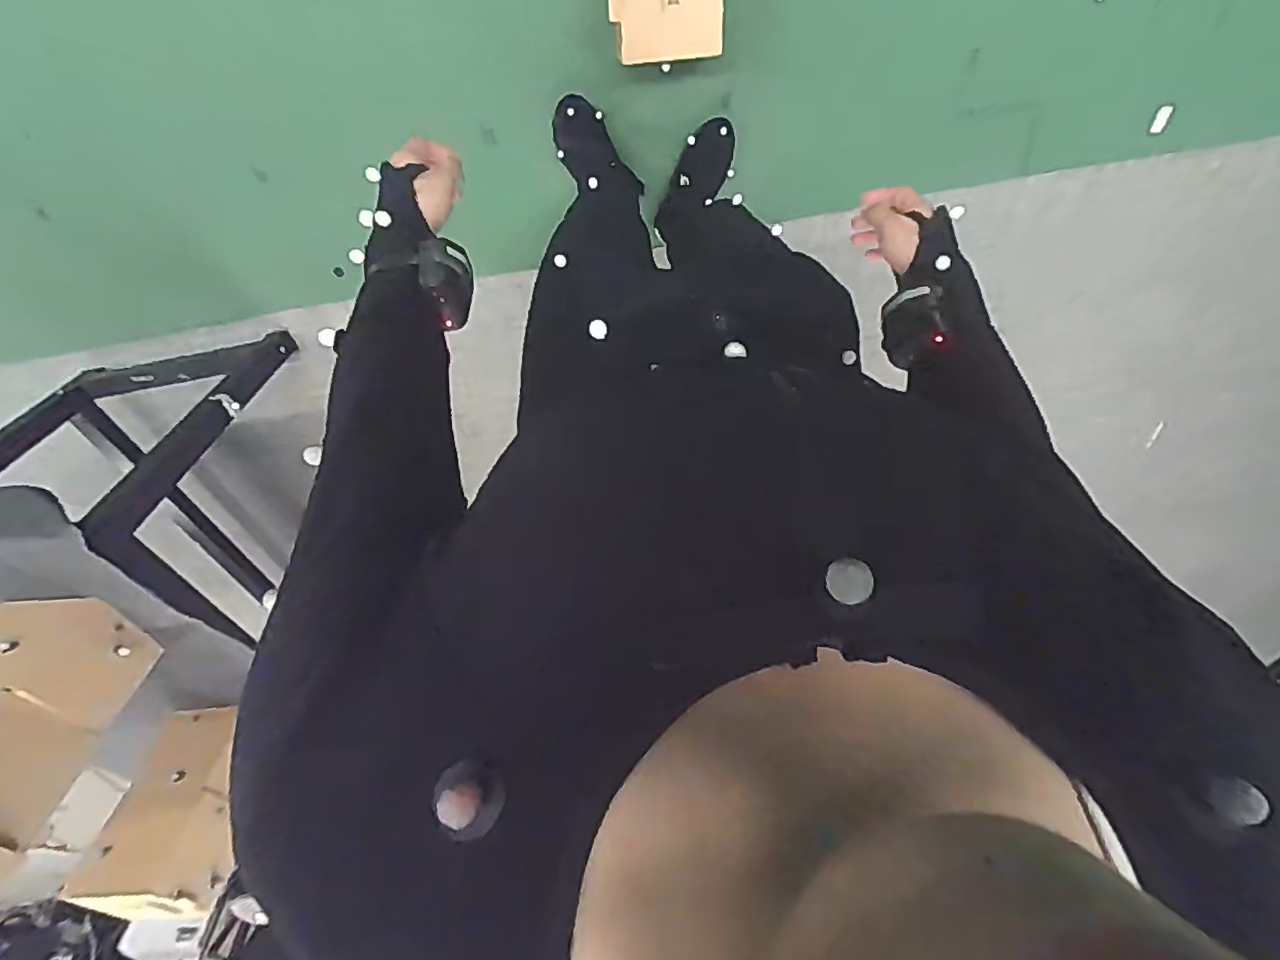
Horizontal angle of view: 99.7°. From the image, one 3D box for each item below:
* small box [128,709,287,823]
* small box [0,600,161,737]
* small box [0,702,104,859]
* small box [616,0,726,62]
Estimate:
[{"bbox_3d":[-0.906,0.611,1.158,0.168,0.176,0.179,-7,132,3],"label":"small box"},{"bbox_3d":[-0.967,0.314,0.890,0.179,0.176,0.168,-4,132,1],"label":"small box"},{"bbox_3d":[-0.962,0.430,0.776,0.168,0.176,0.179,-8,133,8],"label":"small box"},{"bbox_3d":[0.048,-0.841,0.935,0.179,0.176,0.168,-6,132,1],"label":"small box"}]
